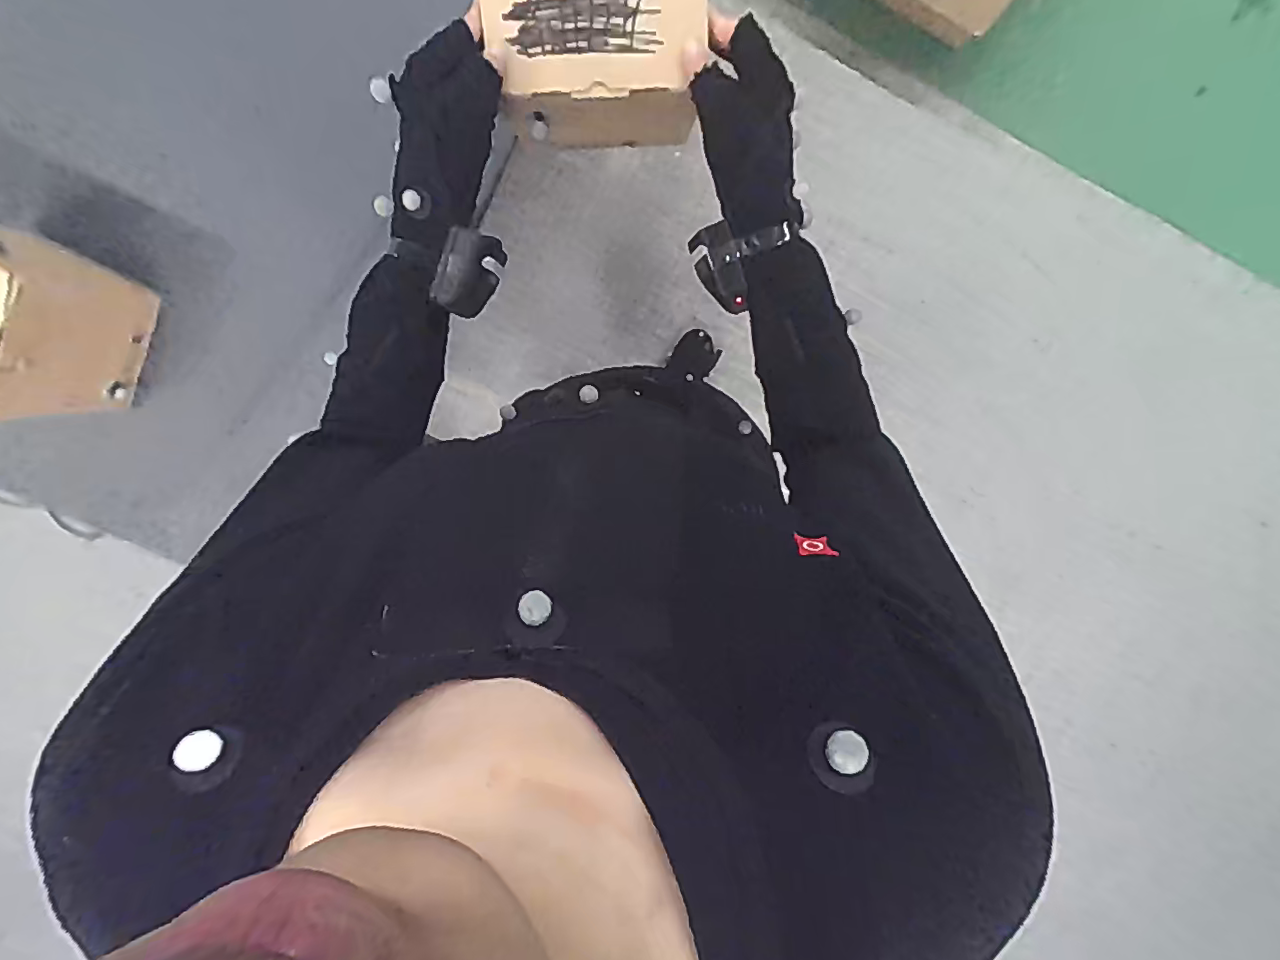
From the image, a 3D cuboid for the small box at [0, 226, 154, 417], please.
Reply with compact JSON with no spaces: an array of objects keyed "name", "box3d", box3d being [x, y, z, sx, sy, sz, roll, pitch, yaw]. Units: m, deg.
[{"name":"small box","box3d":[-0.726,-0.190,0.622,0.179,0.176,0.168,26,102,-4]}]
